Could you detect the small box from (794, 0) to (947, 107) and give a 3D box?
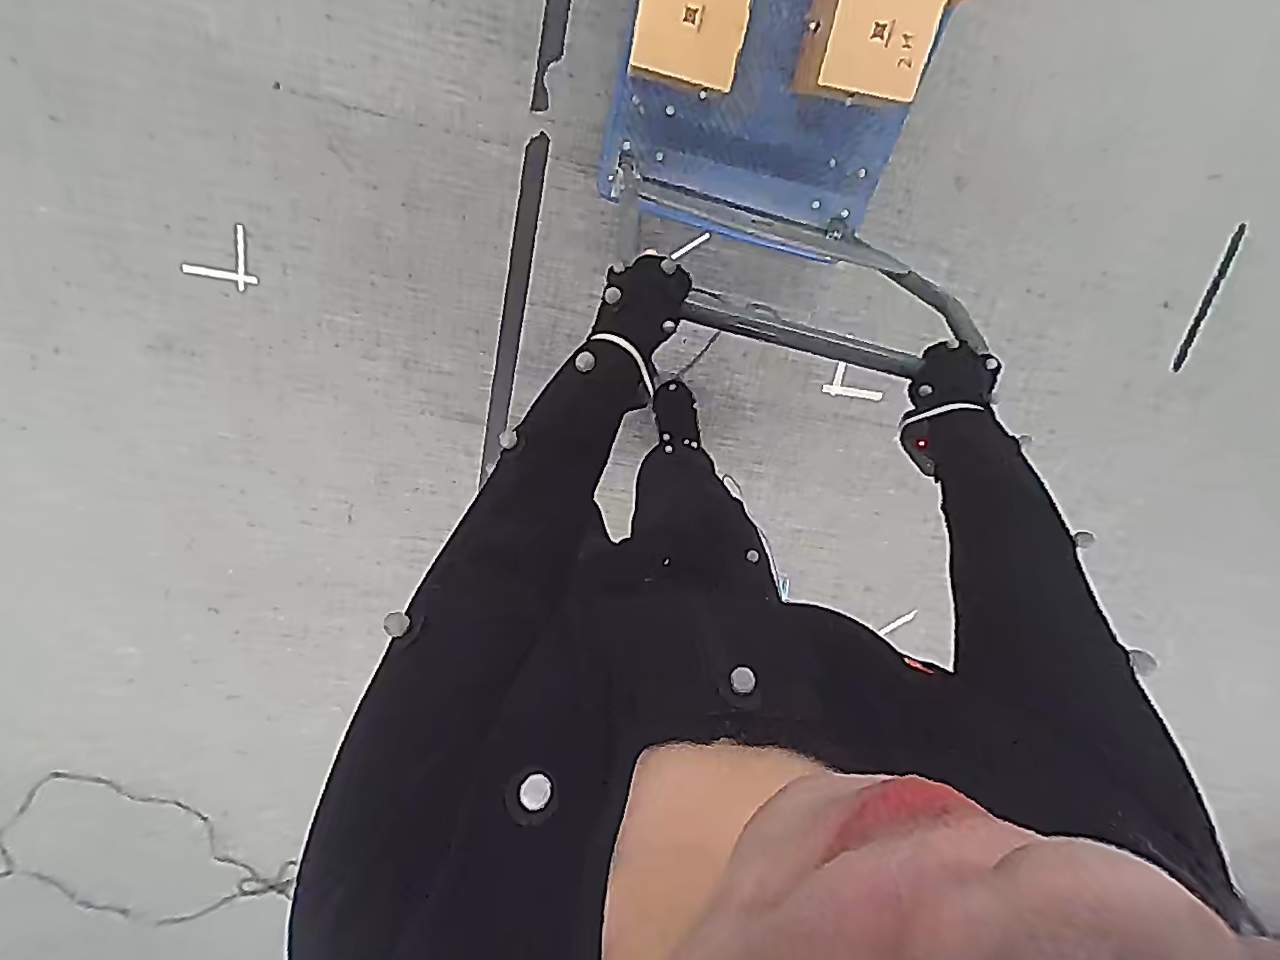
[{"bbox_3d":[0.390,-0.767,0.945,0.179,0.176,0.168,7,122,-7],"label":"small box"}]

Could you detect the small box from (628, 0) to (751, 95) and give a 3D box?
[{"bbox_3d":[0.078,-0.778,0.925,0.179,0.176,0.168,9,122,-10],"label":"small box"}]
